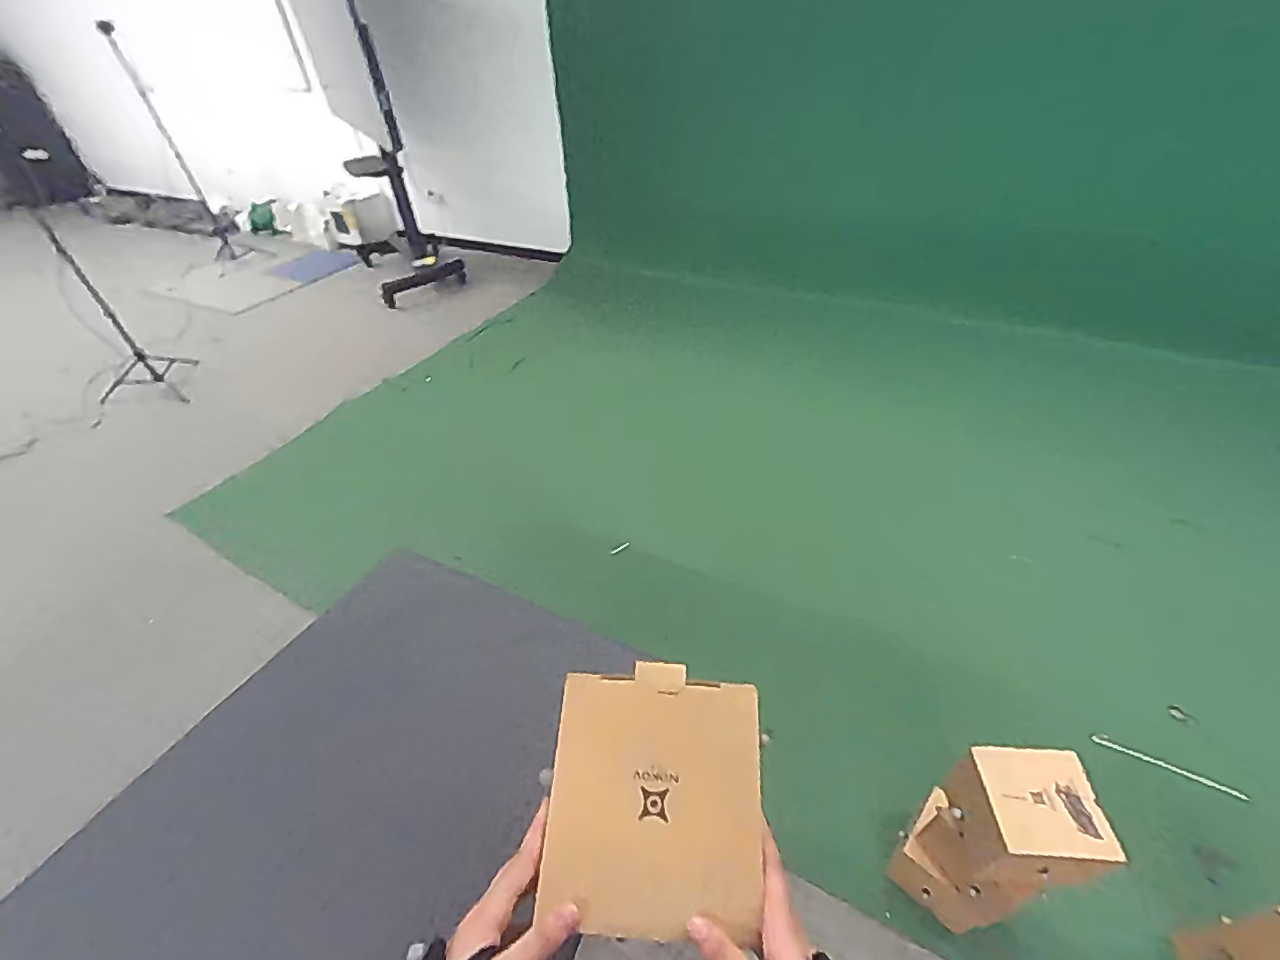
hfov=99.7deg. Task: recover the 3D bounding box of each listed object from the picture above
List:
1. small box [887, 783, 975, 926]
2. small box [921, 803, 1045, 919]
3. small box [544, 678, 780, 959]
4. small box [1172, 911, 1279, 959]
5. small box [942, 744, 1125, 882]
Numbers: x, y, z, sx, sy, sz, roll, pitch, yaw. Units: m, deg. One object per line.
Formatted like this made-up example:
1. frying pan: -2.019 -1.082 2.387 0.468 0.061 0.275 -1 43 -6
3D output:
1. small box: 0.661 0.814 1.172 0.168 0.176 0.179 32 52 32
2. small box: 0.680 0.706 1.049 0.179 0.176 0.168 -19 46 -18
3. small box: 0.023 0.286 0.477 0.168 0.176 0.179 3 60 3
4. small box: 1.150 0.947 0.996 0.168 0.176 0.179 11 43 15
5. small box: 0.666 0.581 0.942 0.179 0.176 0.168 1 43 5
